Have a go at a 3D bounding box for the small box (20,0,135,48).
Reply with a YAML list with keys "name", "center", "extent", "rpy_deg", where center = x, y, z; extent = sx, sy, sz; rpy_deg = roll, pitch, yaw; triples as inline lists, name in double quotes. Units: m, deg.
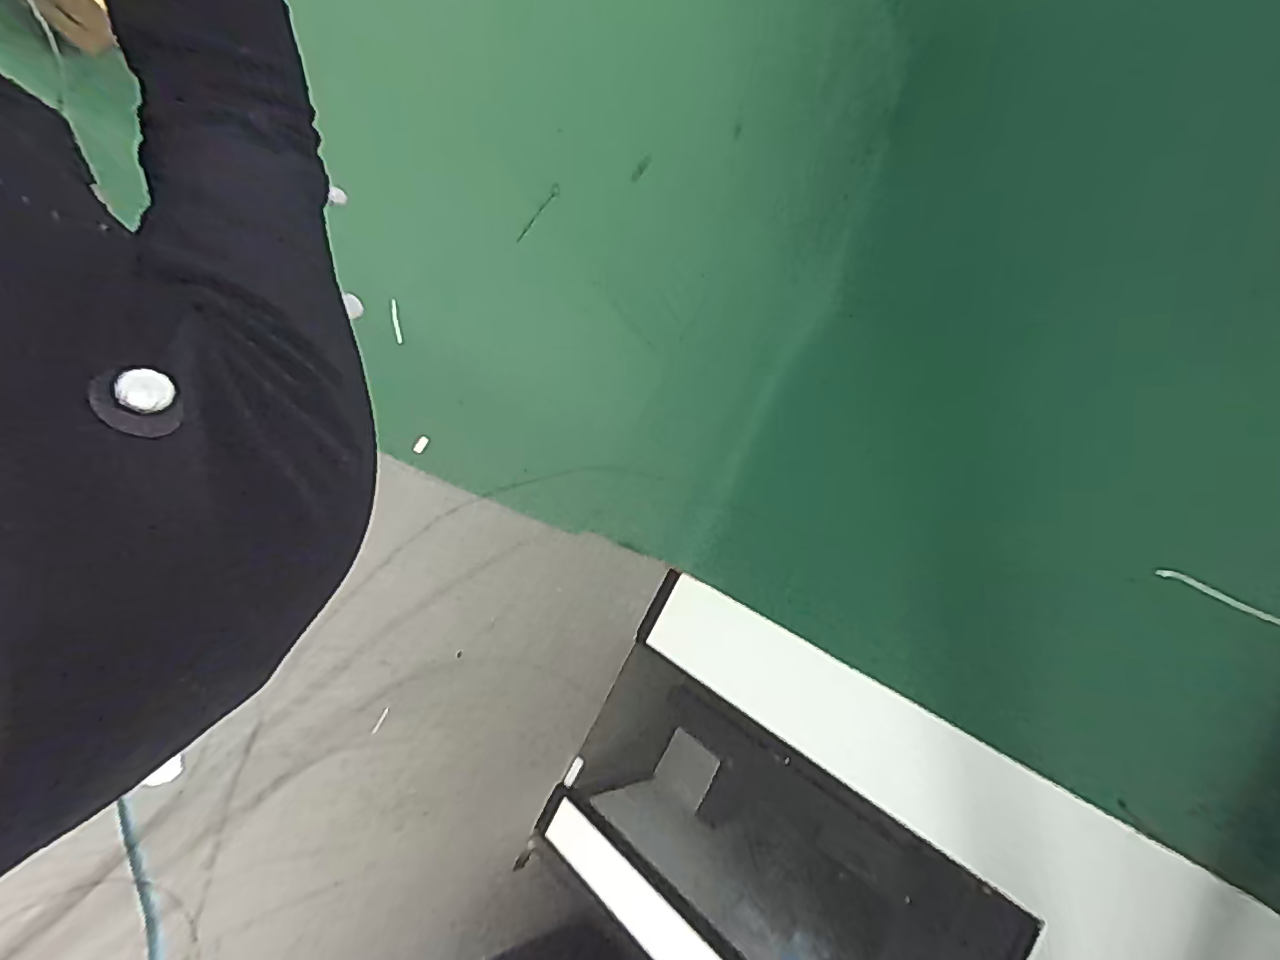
- name: "small box"
  center: [-0.884, -0.803, 0.821]
  extent: [0.179, 0.176, 0.168]
  rpy_deg: [-60, 146, -7]
